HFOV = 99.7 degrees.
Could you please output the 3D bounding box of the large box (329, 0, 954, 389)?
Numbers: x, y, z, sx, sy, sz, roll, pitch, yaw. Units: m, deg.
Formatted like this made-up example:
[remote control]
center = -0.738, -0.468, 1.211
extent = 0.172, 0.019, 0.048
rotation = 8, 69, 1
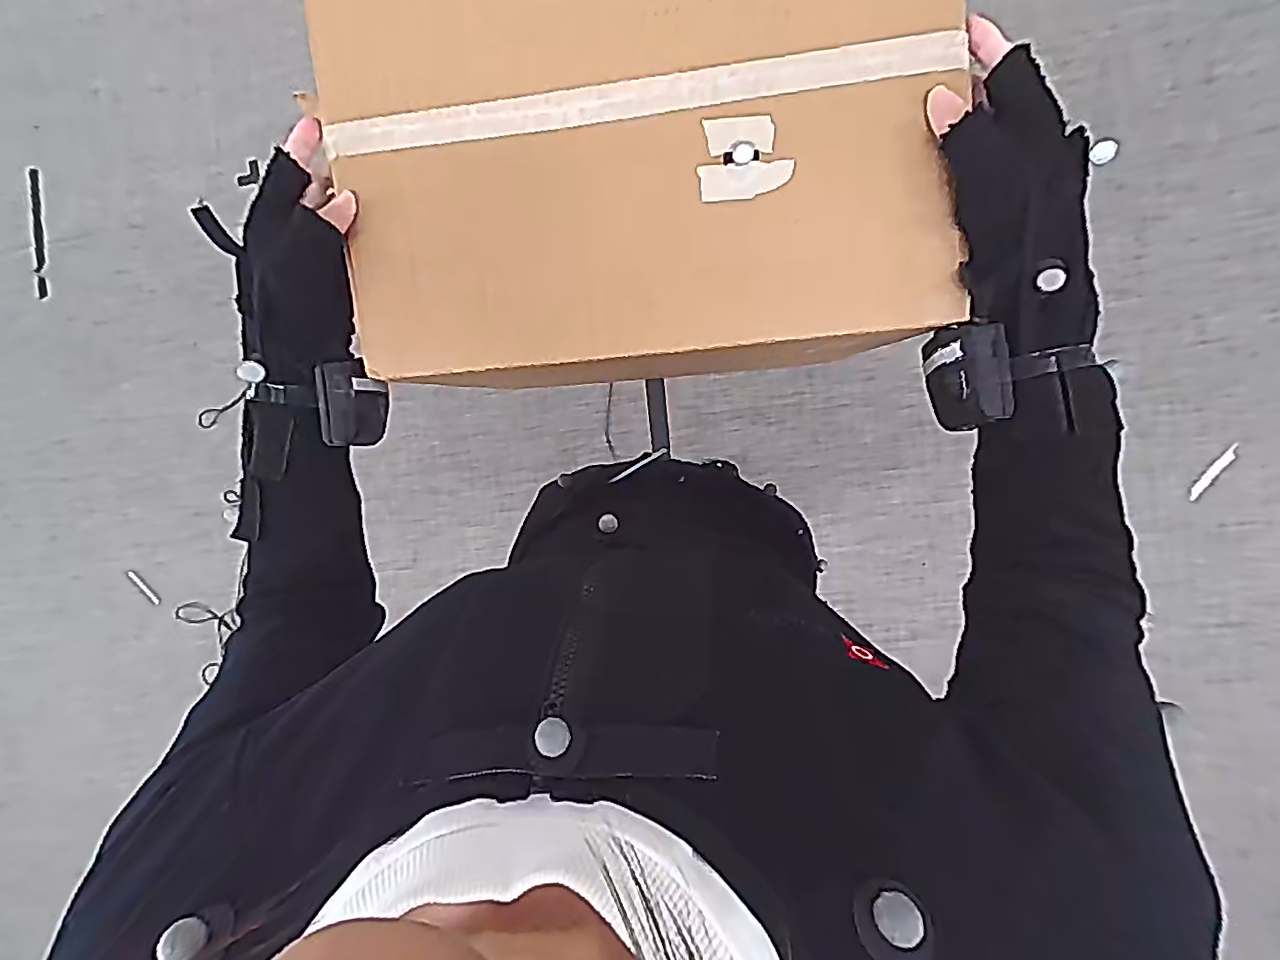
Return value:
[large box]
center = 0.006, -0.264, 0.504
extent = 0.408, 0.320, 0.320
rotation = -5, 98, 4
